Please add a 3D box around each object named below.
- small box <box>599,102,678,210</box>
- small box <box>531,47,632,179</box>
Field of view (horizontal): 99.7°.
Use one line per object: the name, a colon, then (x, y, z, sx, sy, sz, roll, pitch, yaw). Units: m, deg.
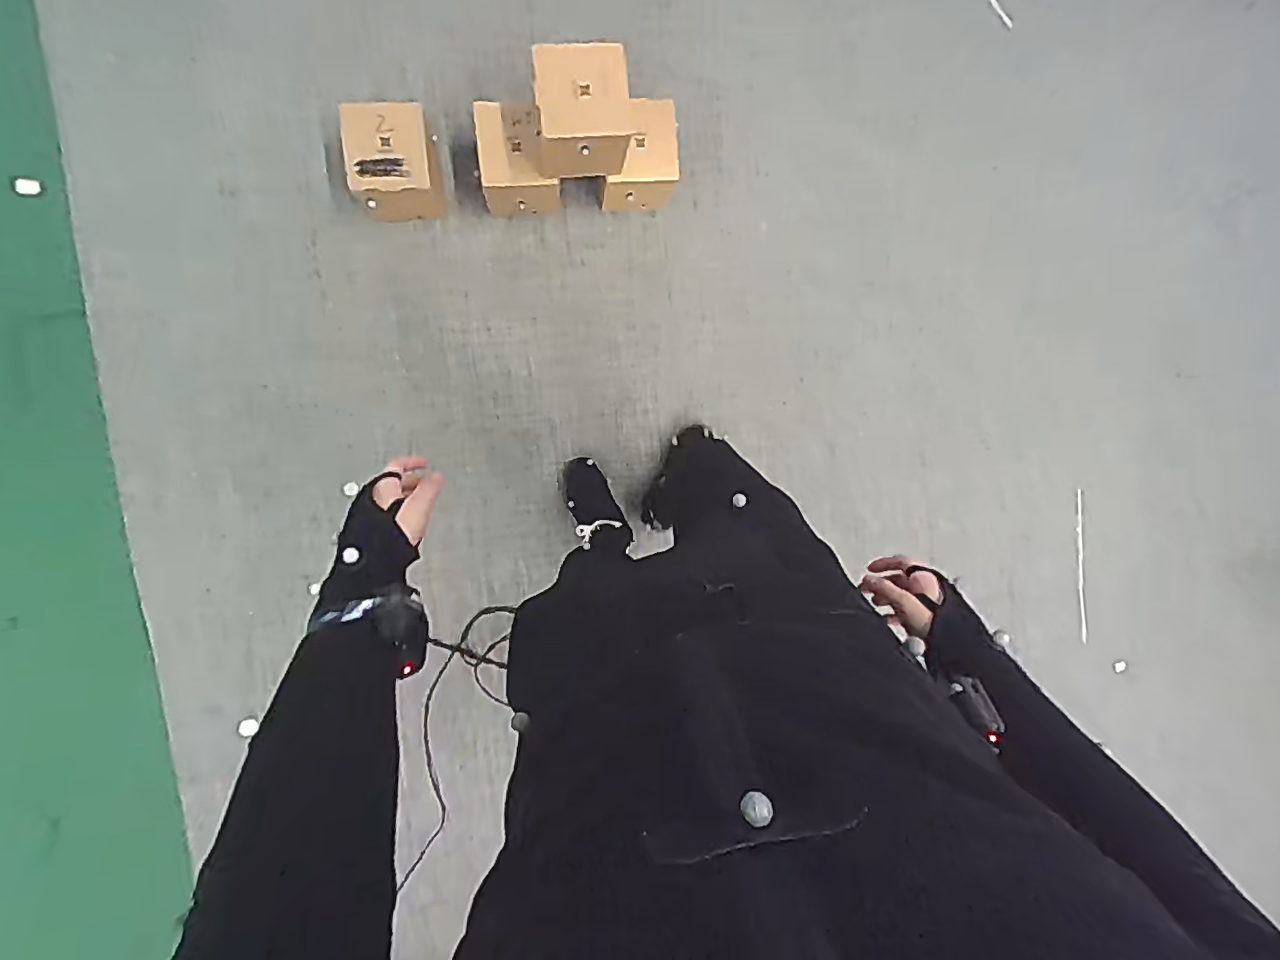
small box: (-0.010, -0.754, 1.277, 0.168, 0.176, 0.179, -6, 95, -8)
small box: (-0.120, -0.734, 1.097, 0.179, 0.176, 0.168, -8, 96, -9)
